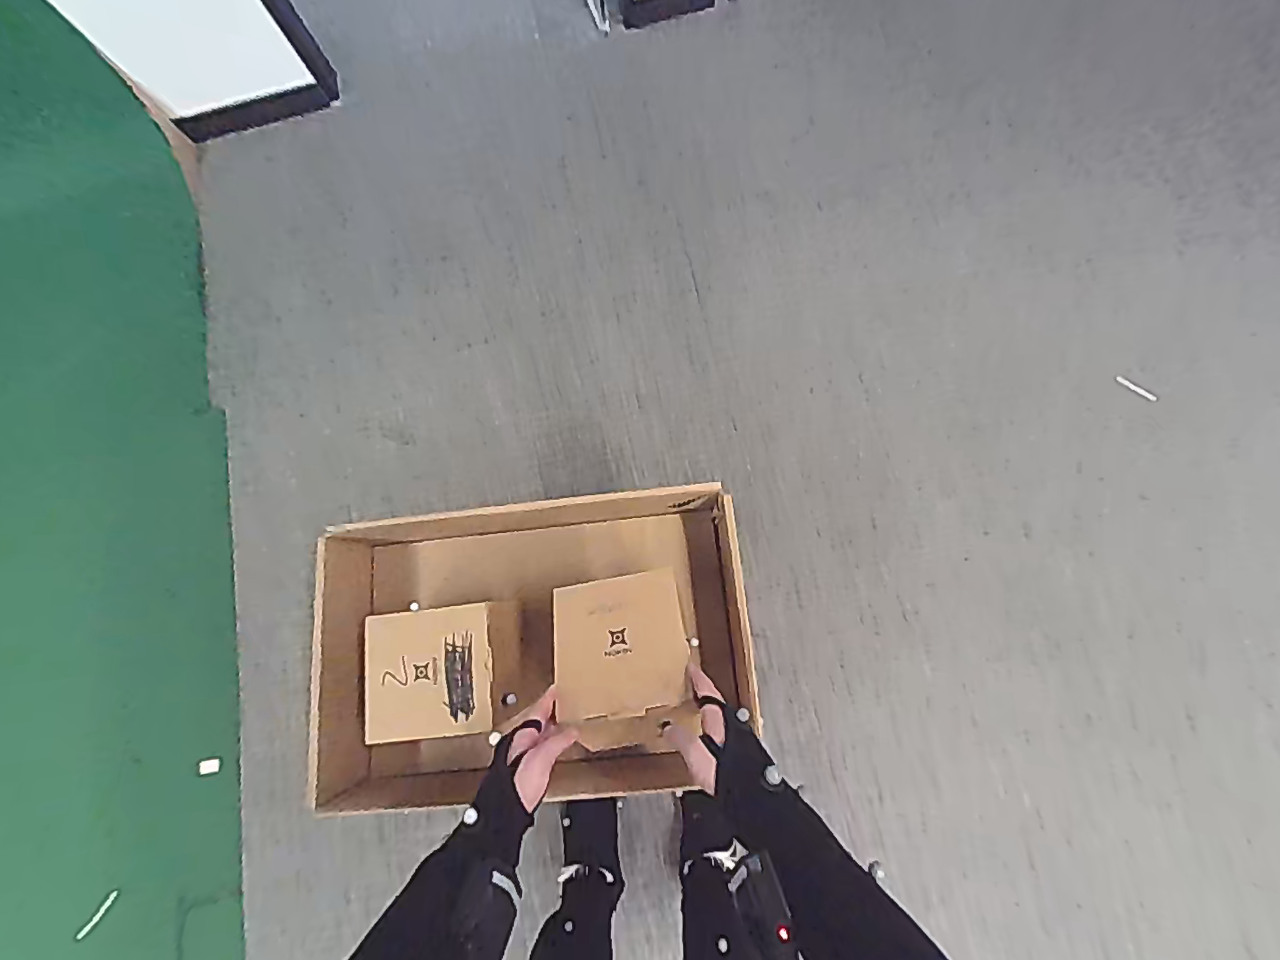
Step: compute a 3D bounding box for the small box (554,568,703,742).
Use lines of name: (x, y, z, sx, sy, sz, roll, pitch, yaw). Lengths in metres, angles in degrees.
small box: (-0.013, 0.247, 0.738, 0.168, 0.176, 0.179, -11, 53, 5)
